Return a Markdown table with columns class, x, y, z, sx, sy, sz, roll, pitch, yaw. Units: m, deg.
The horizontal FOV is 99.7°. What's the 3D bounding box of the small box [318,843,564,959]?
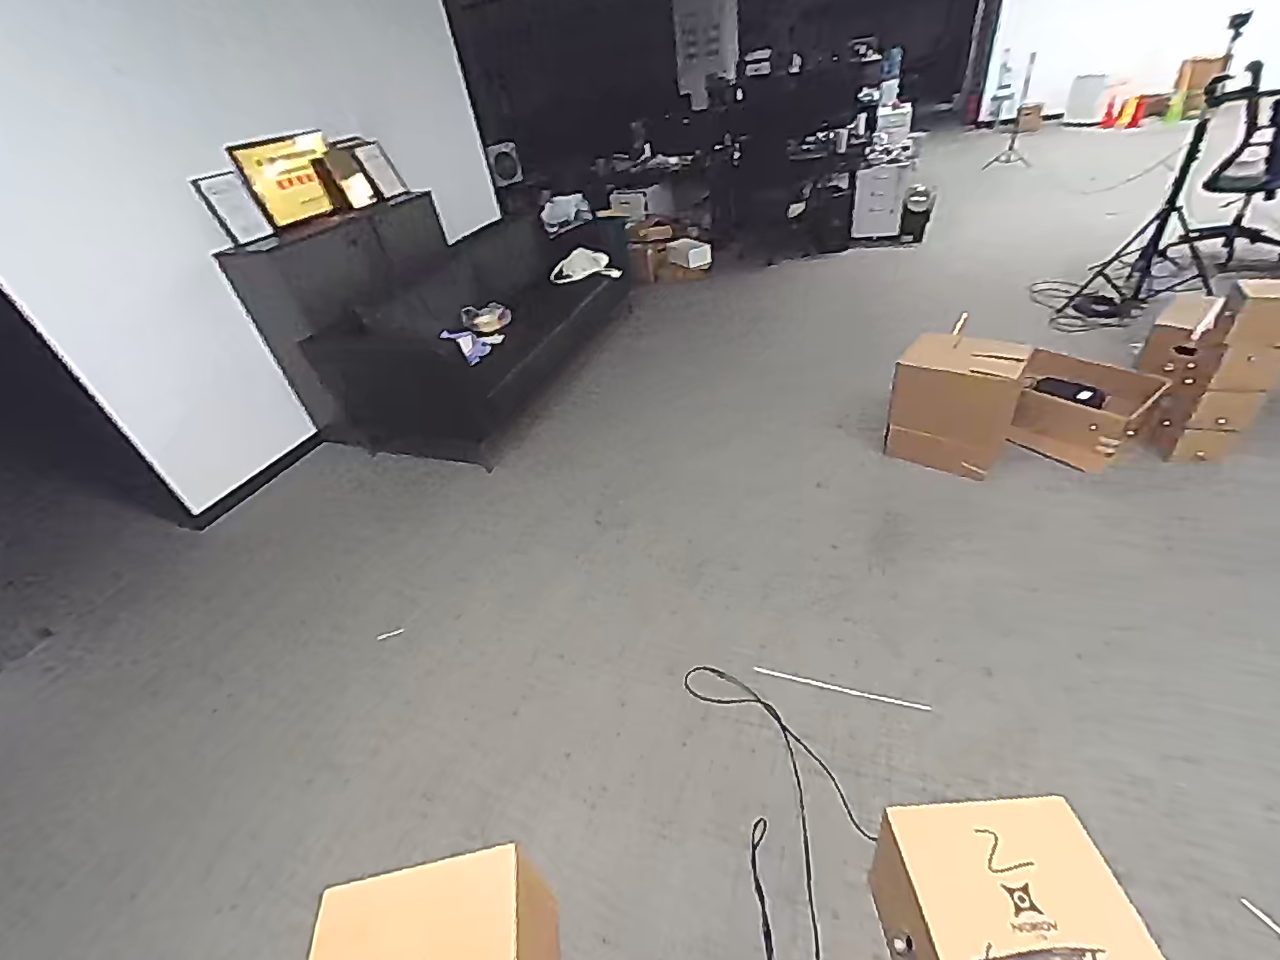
| class | x | y | z | sx | sy | sz | roll | pitch | yaw |
| --- | --- | --- | --- | --- | --- | --- | --- | --- | --- |
| small box | -0.159 | 0.445 | 0.453 | 0.168 | 0.176 | 0.179 | -11 | 40 | -3 |
